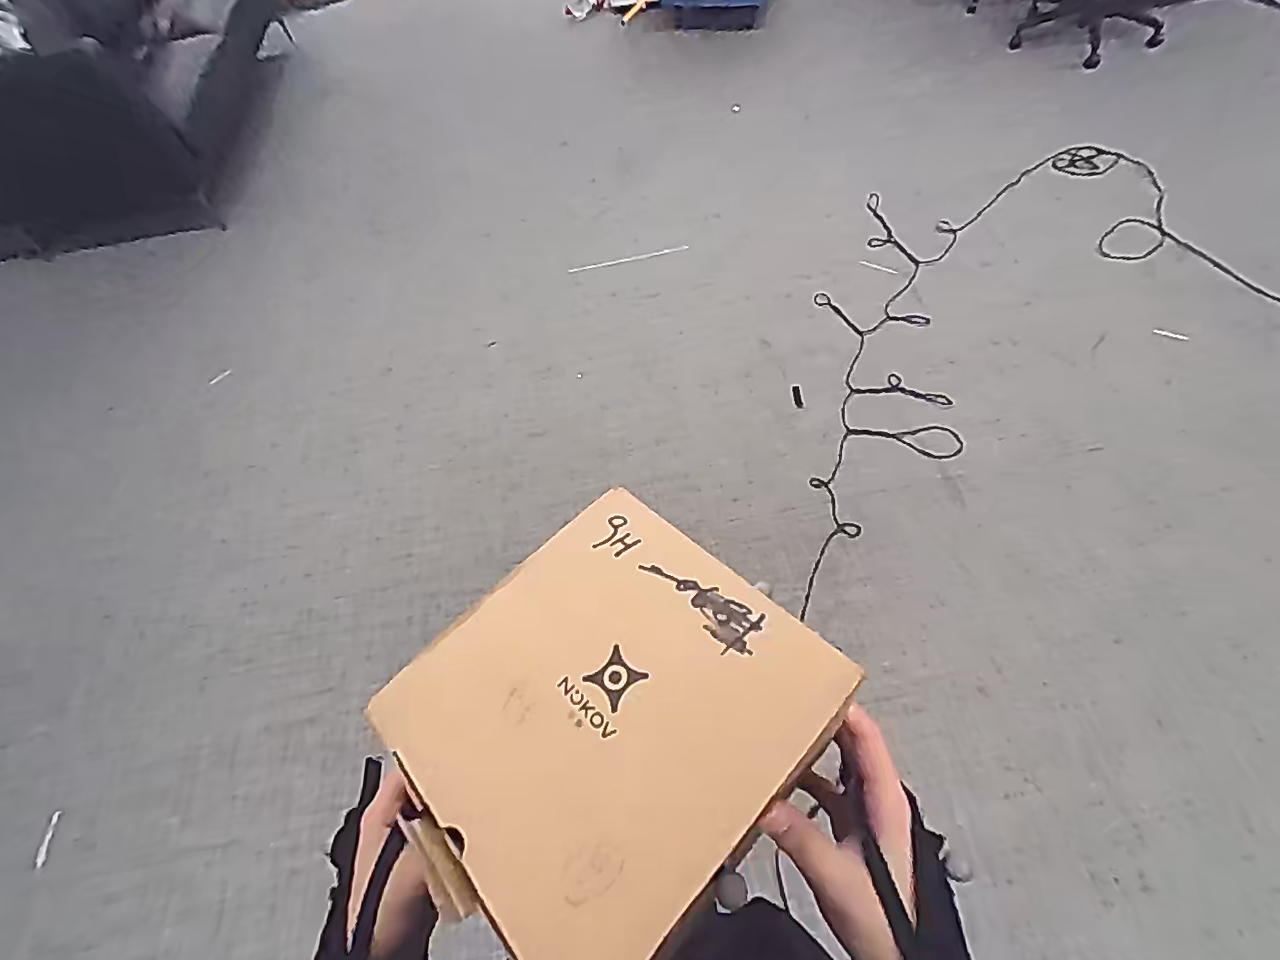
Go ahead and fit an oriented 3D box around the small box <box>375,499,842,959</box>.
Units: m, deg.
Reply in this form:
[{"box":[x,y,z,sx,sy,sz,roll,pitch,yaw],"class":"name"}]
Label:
[{"box":[-0.006,0.152,0.321,0.168,0.176,0.179,35,68,31],"class":"small box"}]
